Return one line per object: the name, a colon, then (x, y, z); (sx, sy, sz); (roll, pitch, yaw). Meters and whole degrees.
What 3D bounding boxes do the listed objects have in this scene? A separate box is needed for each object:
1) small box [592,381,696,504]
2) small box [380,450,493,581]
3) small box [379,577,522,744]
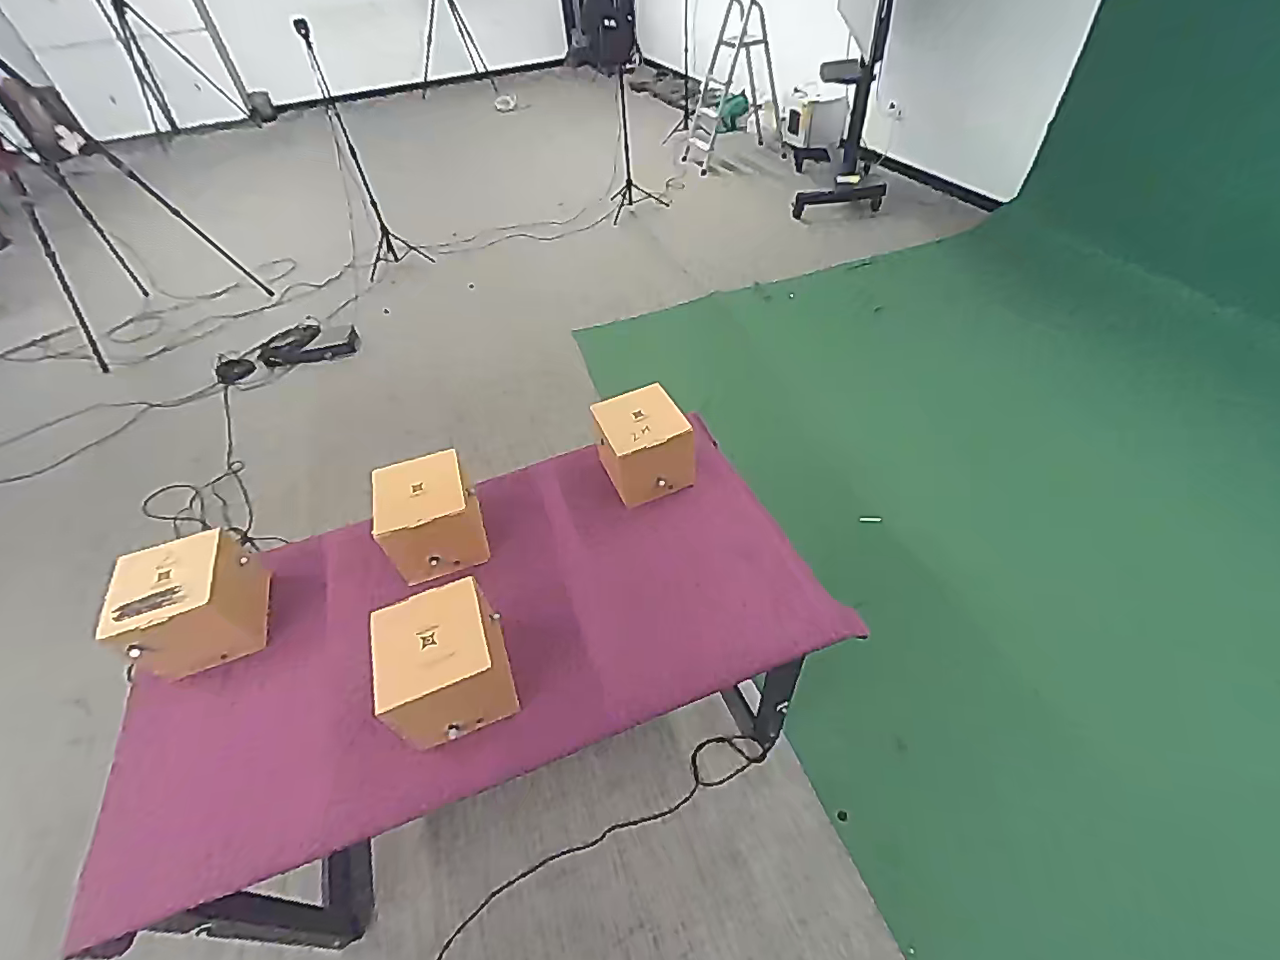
small box: (0.010, -0.081, 1.179); (0.168, 0.176, 0.179); (-22, 50, -9)
small box: (-0.411, 0.073, 1.100); (0.168, 0.176, 0.179); (-18, 50, -9)
small box: (-0.307, 0.296, 0.885); (0.168, 0.176, 0.179); (-20, 48, -10)
